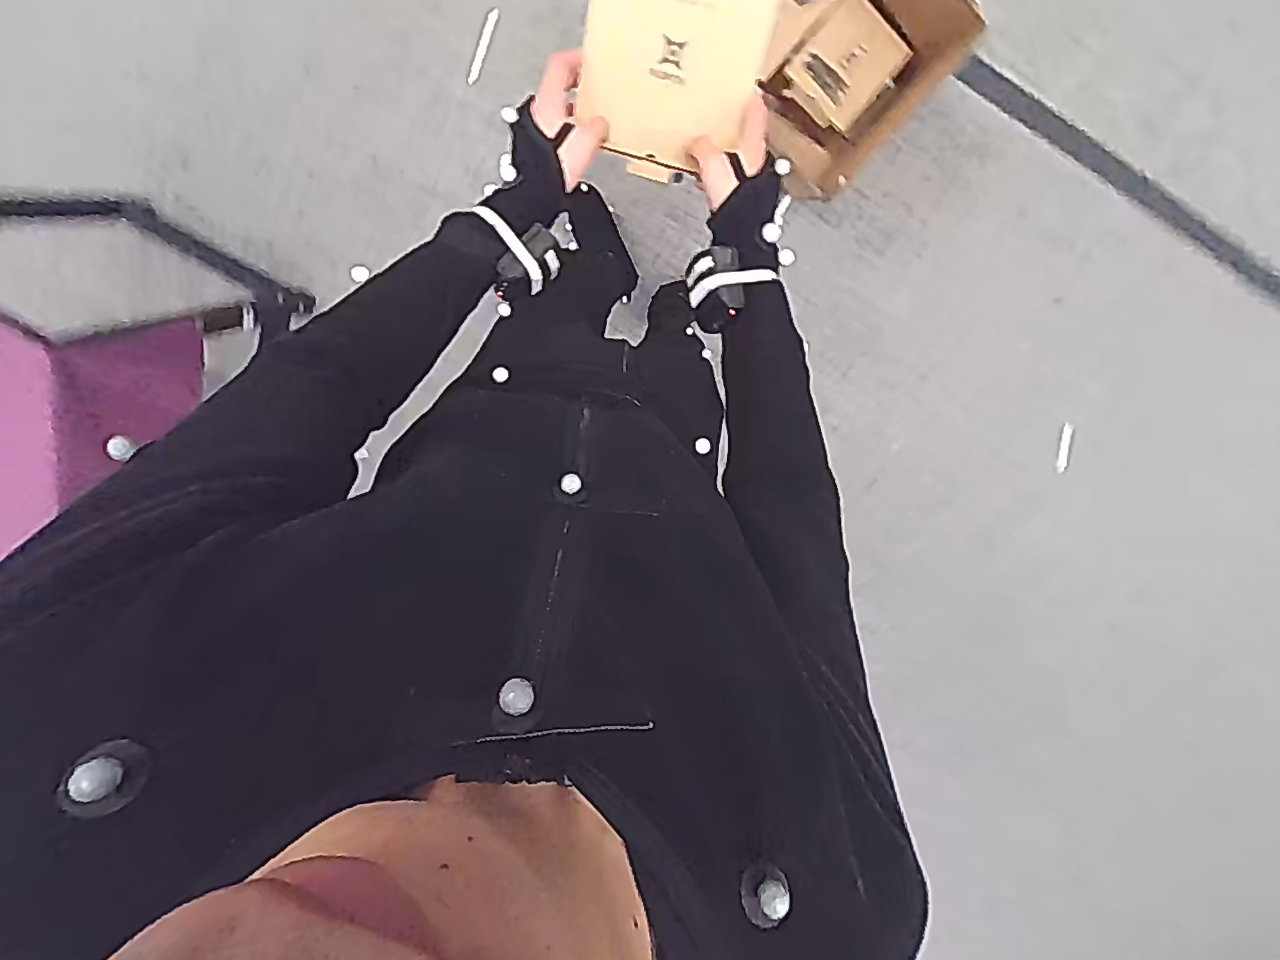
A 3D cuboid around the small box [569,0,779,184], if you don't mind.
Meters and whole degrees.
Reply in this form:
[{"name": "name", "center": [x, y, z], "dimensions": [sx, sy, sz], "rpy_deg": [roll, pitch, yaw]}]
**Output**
[{"name": "small box", "center": [0.031, -0.431, 0.561], "dimensions": [0.168, 0.176, 0.179], "rpy_deg": [12, 123, -6]}]
